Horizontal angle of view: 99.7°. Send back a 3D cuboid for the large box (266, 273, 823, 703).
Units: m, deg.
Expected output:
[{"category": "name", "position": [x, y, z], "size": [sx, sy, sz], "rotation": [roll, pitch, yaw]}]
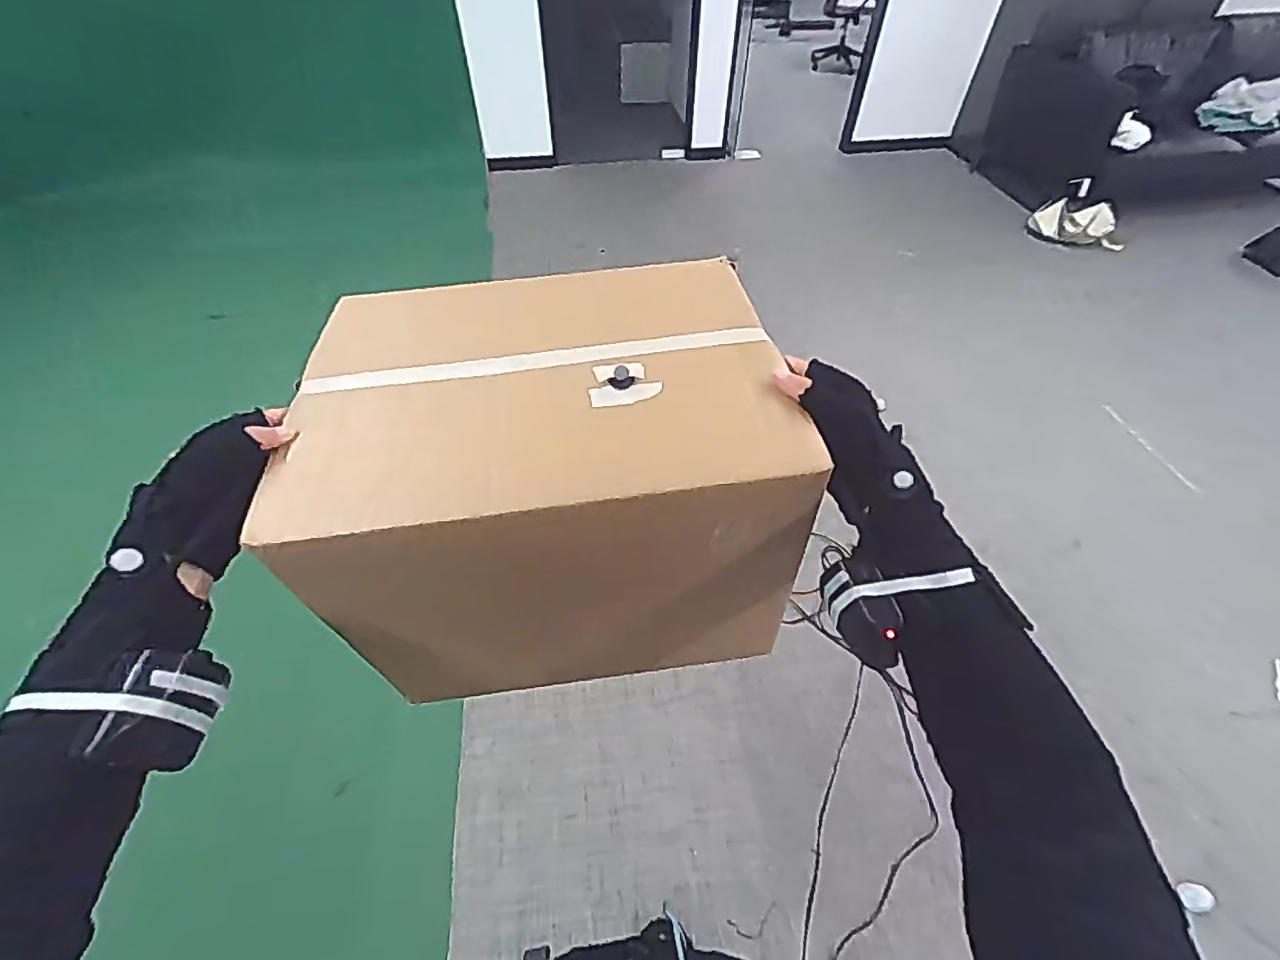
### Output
[{"category": "large box", "position": [-0.077, 0.009, 0.588], "size": [0.408, 0.320, 0.320], "rotation": [-7, 49, -4]}]
